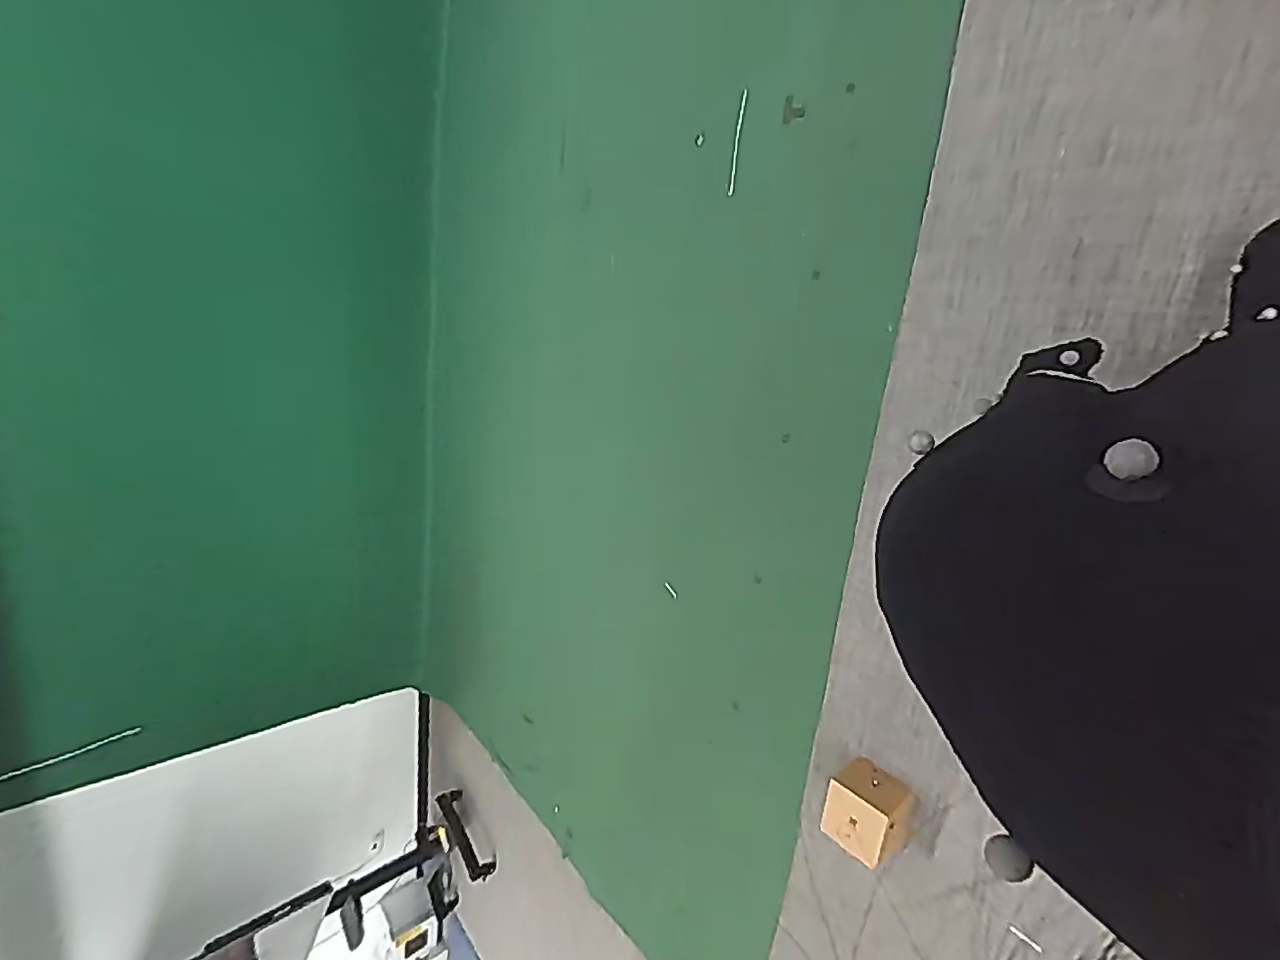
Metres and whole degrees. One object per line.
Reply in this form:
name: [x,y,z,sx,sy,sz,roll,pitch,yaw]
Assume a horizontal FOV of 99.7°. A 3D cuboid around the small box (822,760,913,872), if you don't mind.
small box: [0.642,0.930,1.517,0.168,0.176,0.179,21,108,46]
